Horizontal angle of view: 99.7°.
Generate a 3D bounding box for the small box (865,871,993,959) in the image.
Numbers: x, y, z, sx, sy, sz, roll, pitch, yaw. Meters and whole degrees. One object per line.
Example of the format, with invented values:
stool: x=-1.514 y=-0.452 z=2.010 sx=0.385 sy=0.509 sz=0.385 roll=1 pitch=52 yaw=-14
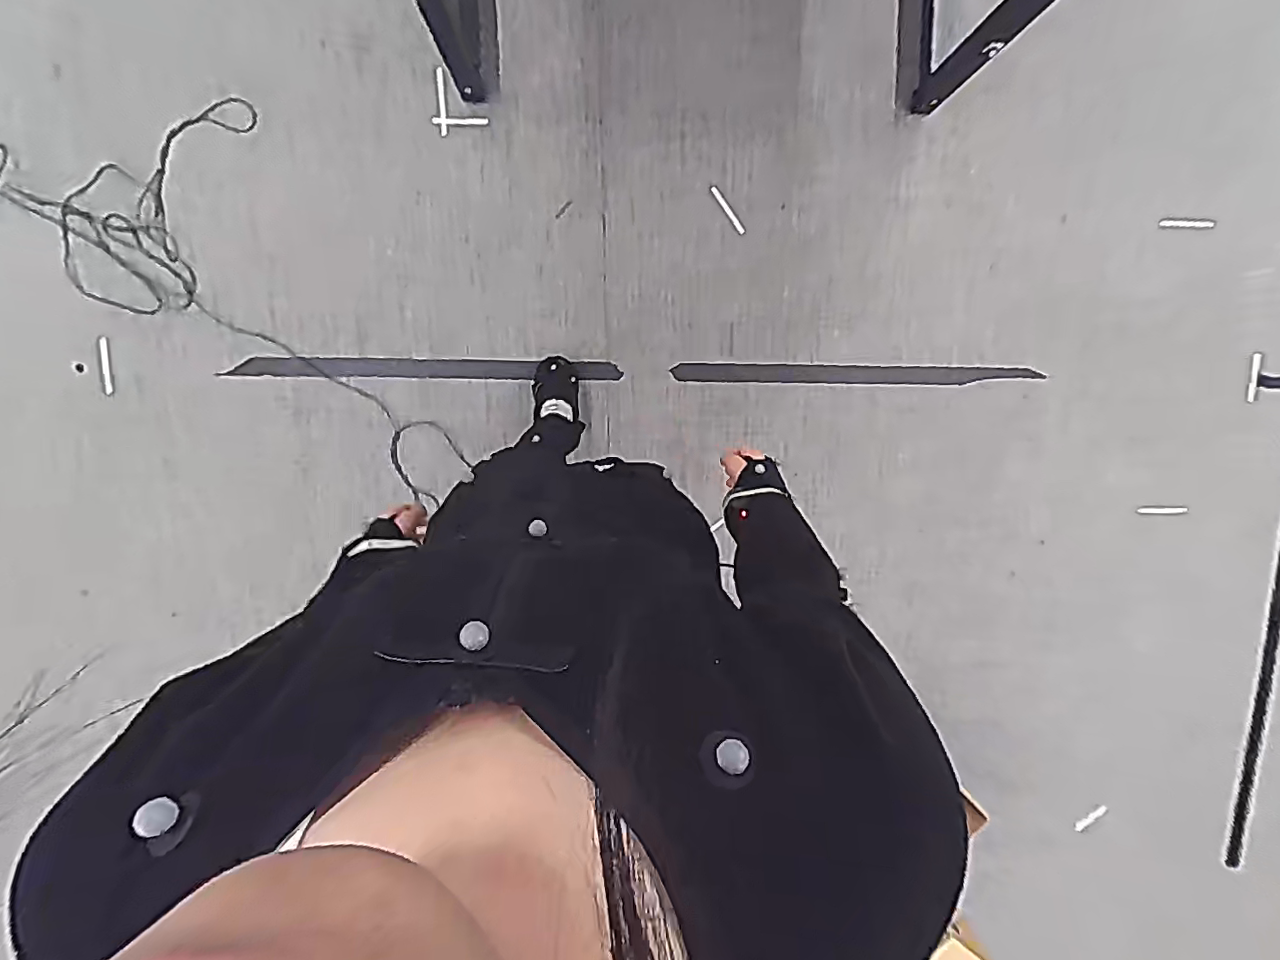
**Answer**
small box: x=0.659 y=1.054 z=1.244 sx=0.179 sy=0.176 sz=0.168 roll=41 pitch=96 yaw=-8
